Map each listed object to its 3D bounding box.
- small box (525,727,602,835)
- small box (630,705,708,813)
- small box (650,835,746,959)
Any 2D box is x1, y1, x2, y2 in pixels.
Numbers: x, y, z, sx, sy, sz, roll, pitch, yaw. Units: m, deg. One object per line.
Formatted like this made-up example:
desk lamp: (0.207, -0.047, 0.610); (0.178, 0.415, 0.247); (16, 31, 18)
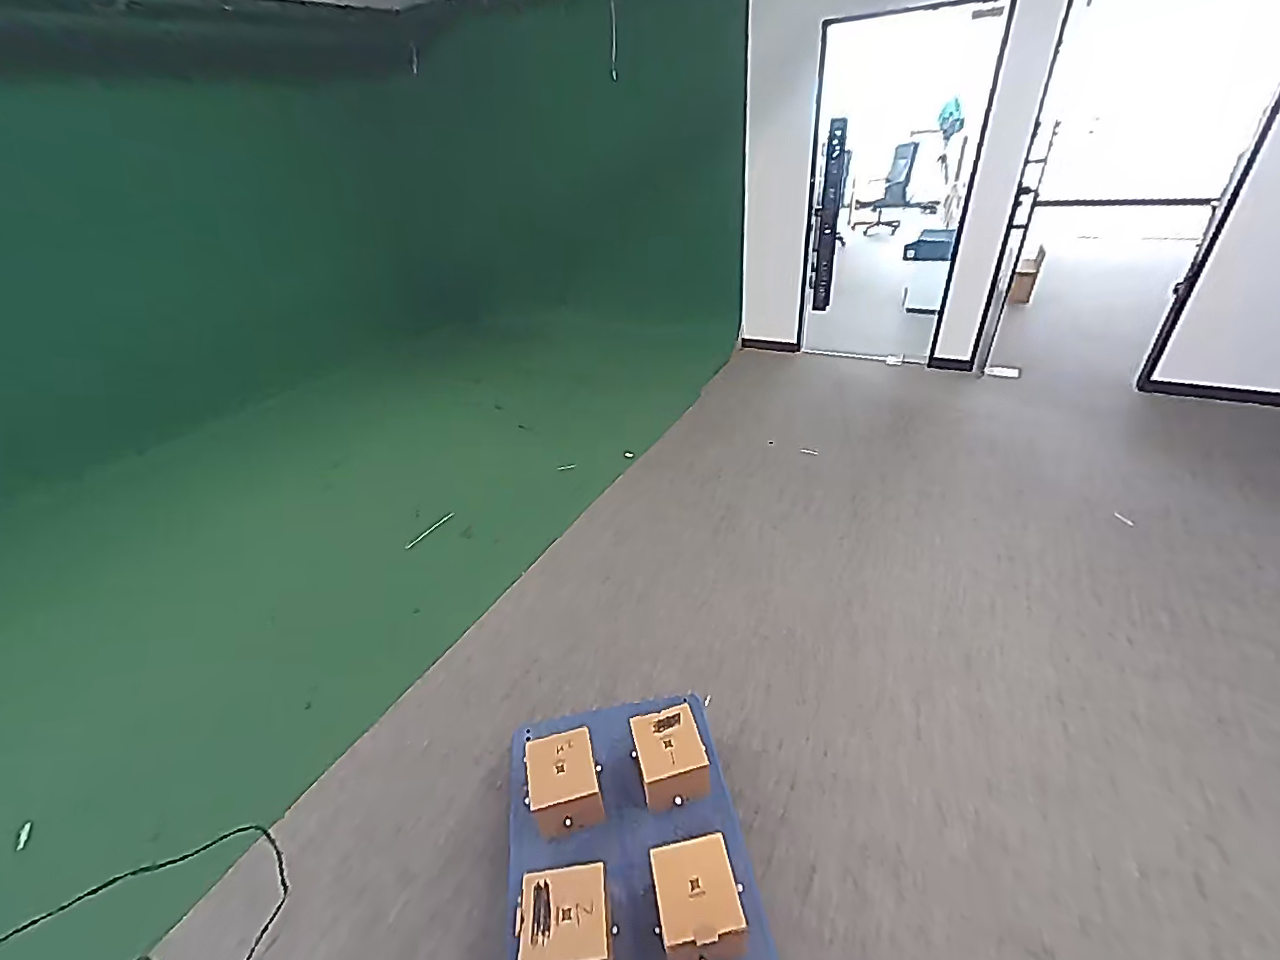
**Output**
small box: (-0.196, 0.777, 1.387); (0.168, 0.176, 0.179); (-10, 35, -9)
small box: (0.074, 0.731, 1.421); (0.168, 0.176, 0.179); (-12, 36, -9)
small box: (0.119, 0.909, 1.160); (0.168, 0.176, 0.179); (-9, 35, -6)
